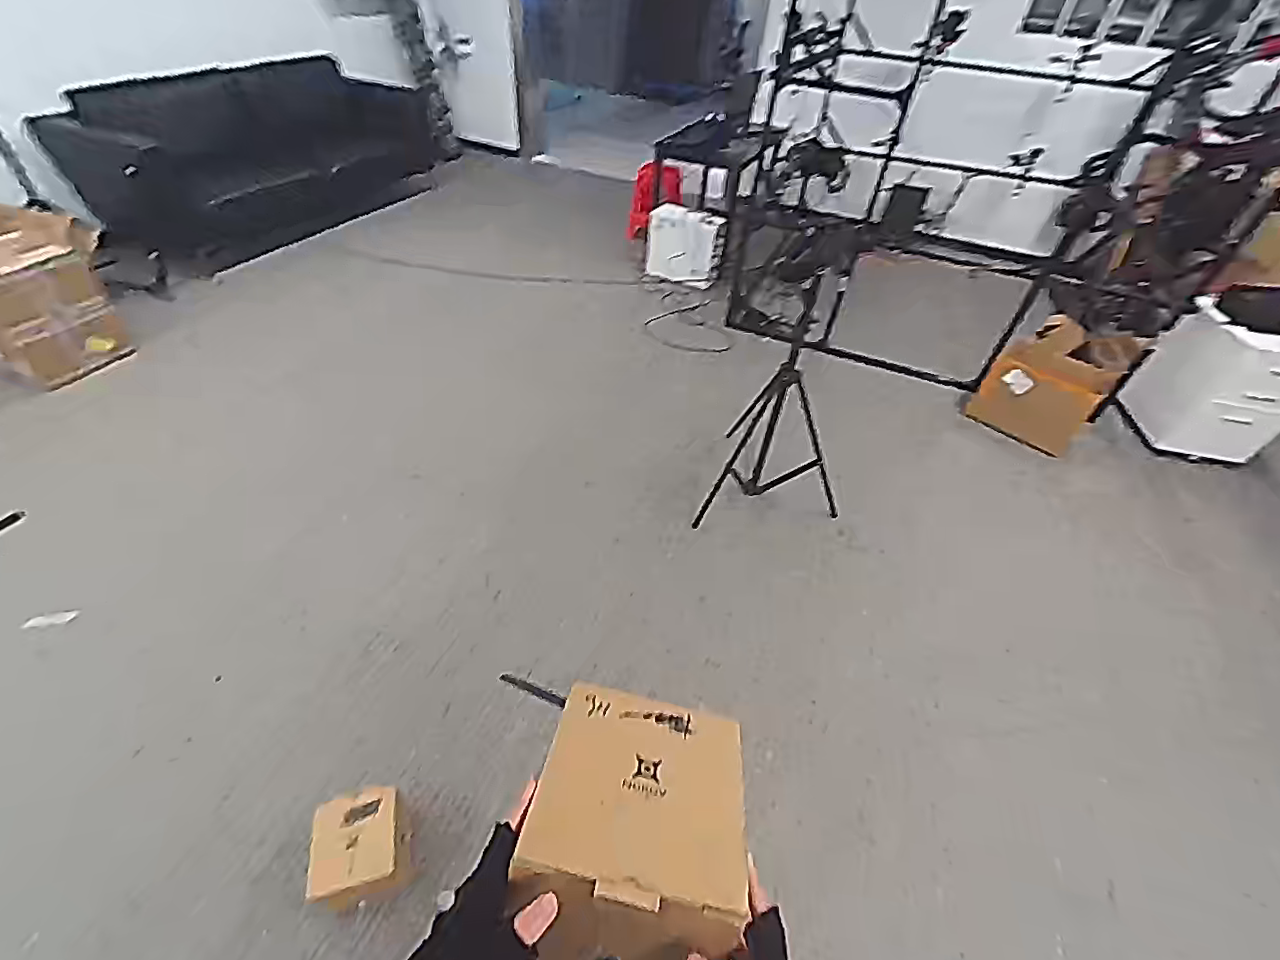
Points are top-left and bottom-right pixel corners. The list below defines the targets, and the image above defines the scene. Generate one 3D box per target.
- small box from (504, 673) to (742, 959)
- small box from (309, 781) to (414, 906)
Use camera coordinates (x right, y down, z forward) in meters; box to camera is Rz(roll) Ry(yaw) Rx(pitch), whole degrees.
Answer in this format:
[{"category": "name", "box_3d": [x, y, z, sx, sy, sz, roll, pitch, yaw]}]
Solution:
[{"category": "small box", "box_3d": [-0.012, 0.308, 0.471, 0.168, 0.176, 0.179, 12, 24, 2]}, {"category": "small box", "box_3d": [-0.608, 0.807, 1.201, 0.168, 0.176, 0.179, -8, 46, -15]}]
